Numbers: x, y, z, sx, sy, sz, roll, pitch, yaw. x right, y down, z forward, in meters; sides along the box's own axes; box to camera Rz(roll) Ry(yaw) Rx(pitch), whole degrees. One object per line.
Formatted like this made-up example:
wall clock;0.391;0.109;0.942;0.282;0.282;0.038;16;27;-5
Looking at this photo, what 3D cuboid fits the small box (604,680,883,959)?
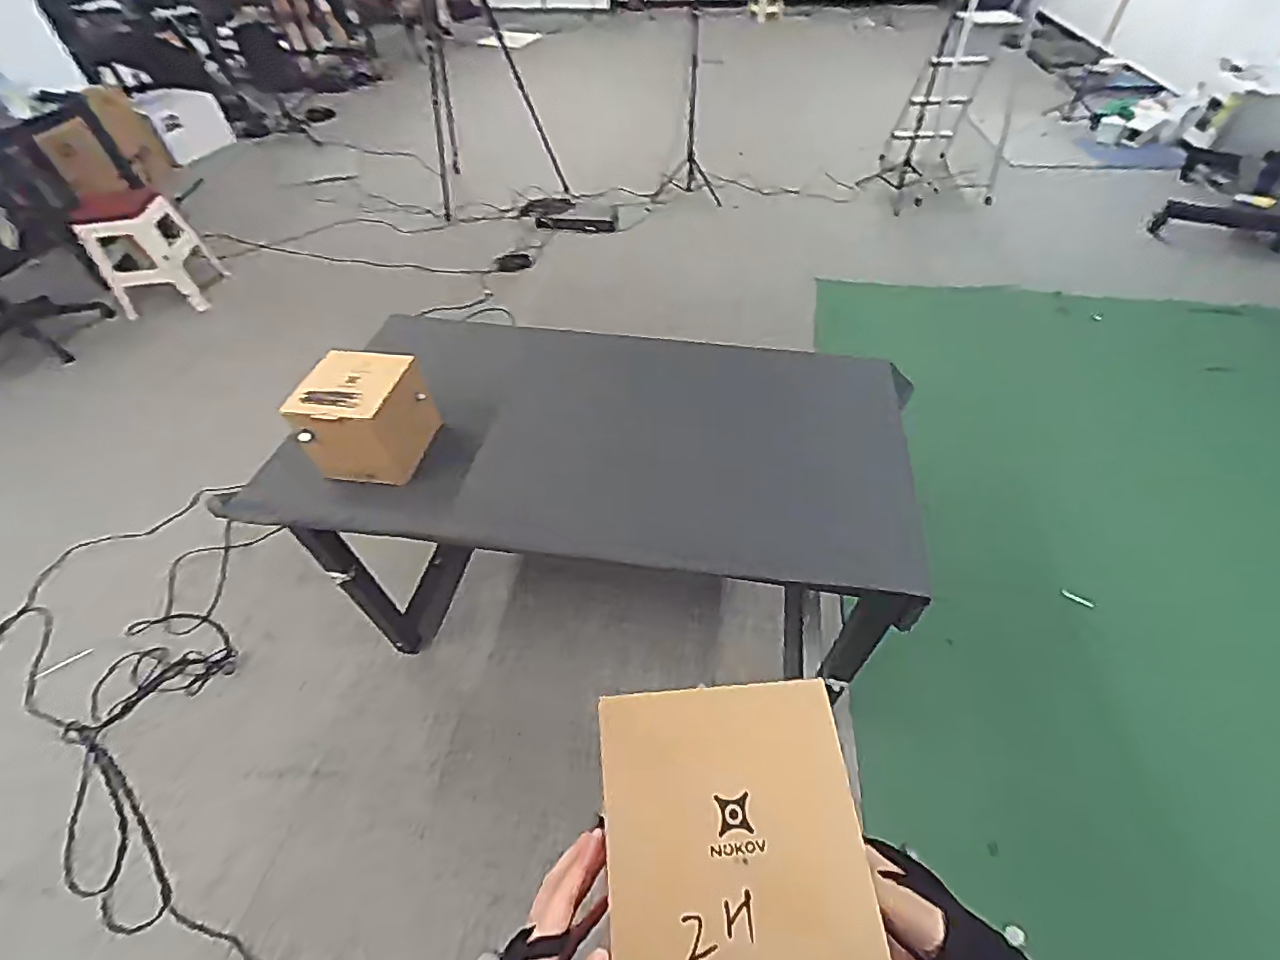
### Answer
small box;0.056;0.267;0.422;0.168;0.176;0.179;-3;60;-3
